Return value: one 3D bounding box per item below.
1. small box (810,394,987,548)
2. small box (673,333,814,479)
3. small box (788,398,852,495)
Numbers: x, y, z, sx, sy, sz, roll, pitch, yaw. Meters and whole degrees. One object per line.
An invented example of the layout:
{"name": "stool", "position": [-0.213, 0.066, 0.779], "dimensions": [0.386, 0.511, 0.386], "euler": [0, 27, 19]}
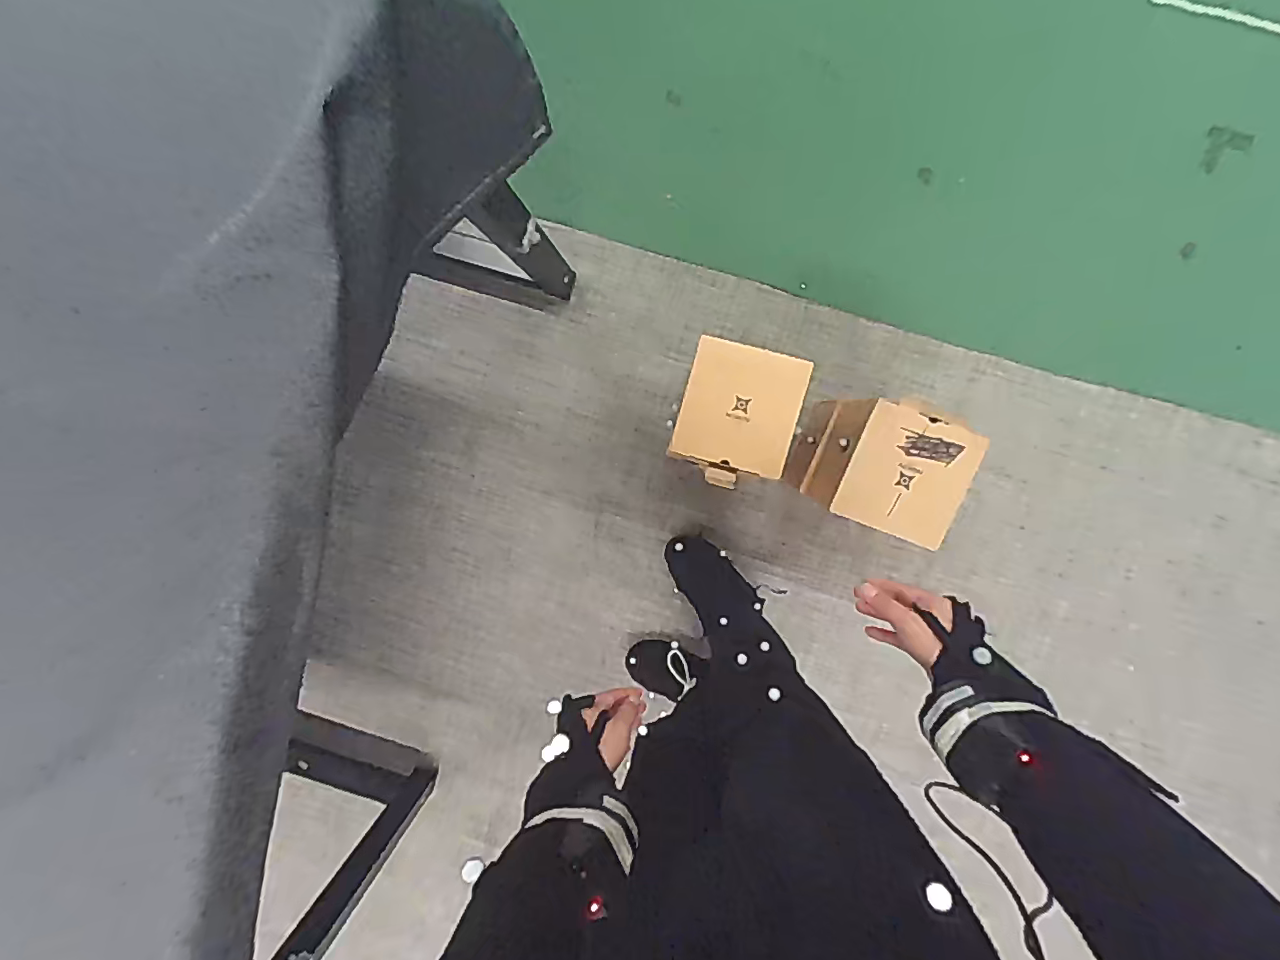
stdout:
{"name": "small box", "position": [0.383, -0.021, 0.839], "dimensions": [0.168, 0.176, 0.179], "euler": [21, 98, 3]}
{"name": "small box", "position": [0.149, -0.113, 0.846], "dimensions": [0.168, 0.176, 0.179], "euler": [15, 97, 2]}
{"name": "small box", "position": [0.389, -0.042, 1.002], "dimensions": [0.168, 0.176, 0.179], "euler": [21, 99, 3]}
